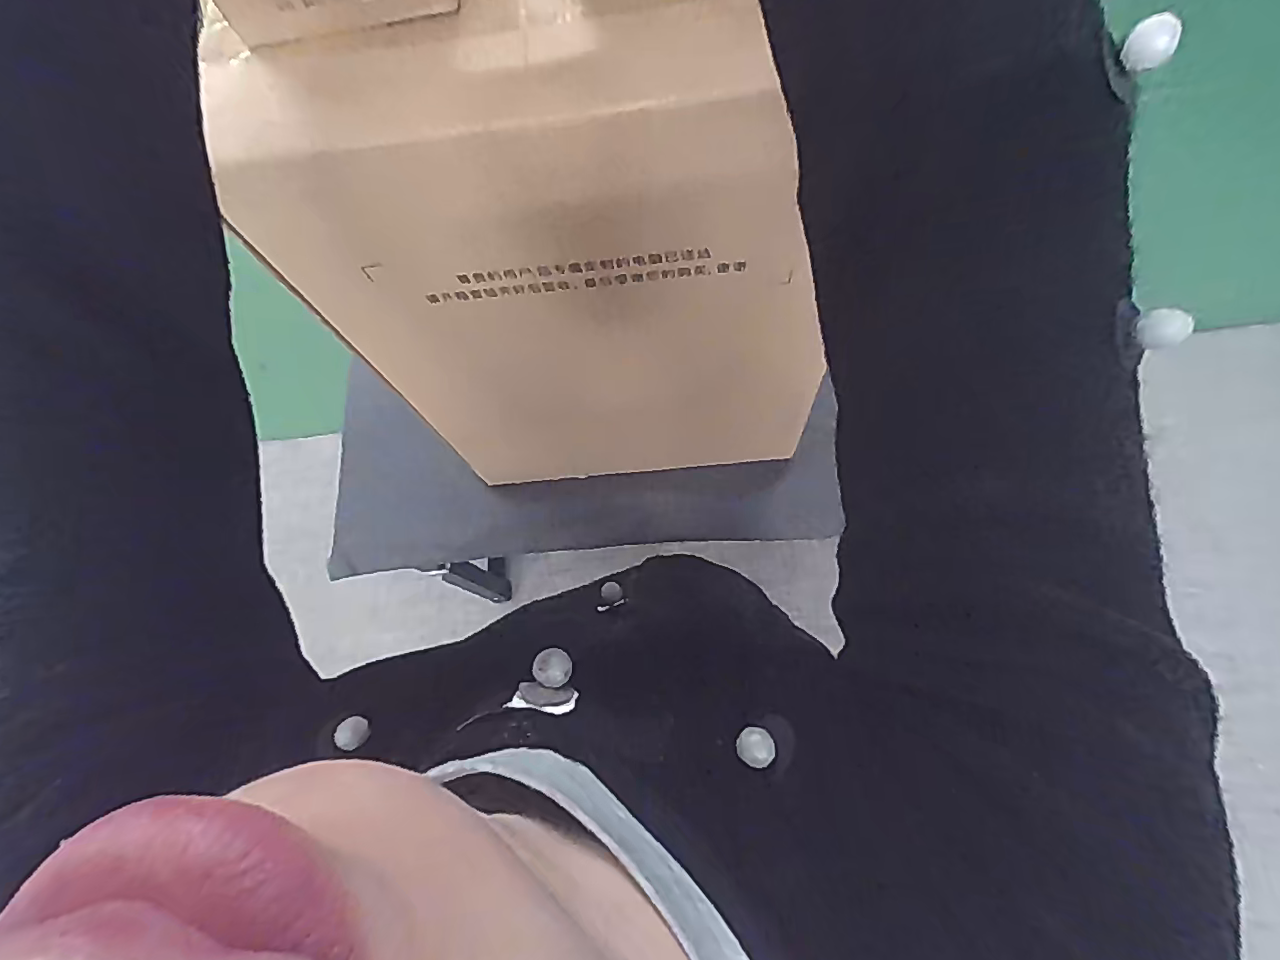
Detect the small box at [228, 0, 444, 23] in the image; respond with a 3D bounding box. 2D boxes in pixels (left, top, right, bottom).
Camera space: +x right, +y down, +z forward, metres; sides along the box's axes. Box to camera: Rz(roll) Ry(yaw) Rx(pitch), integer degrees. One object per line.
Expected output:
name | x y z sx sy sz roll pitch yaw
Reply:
small box | -0.226 -0.435 0.345 0.168 0.176 0.179 -5 71 3
